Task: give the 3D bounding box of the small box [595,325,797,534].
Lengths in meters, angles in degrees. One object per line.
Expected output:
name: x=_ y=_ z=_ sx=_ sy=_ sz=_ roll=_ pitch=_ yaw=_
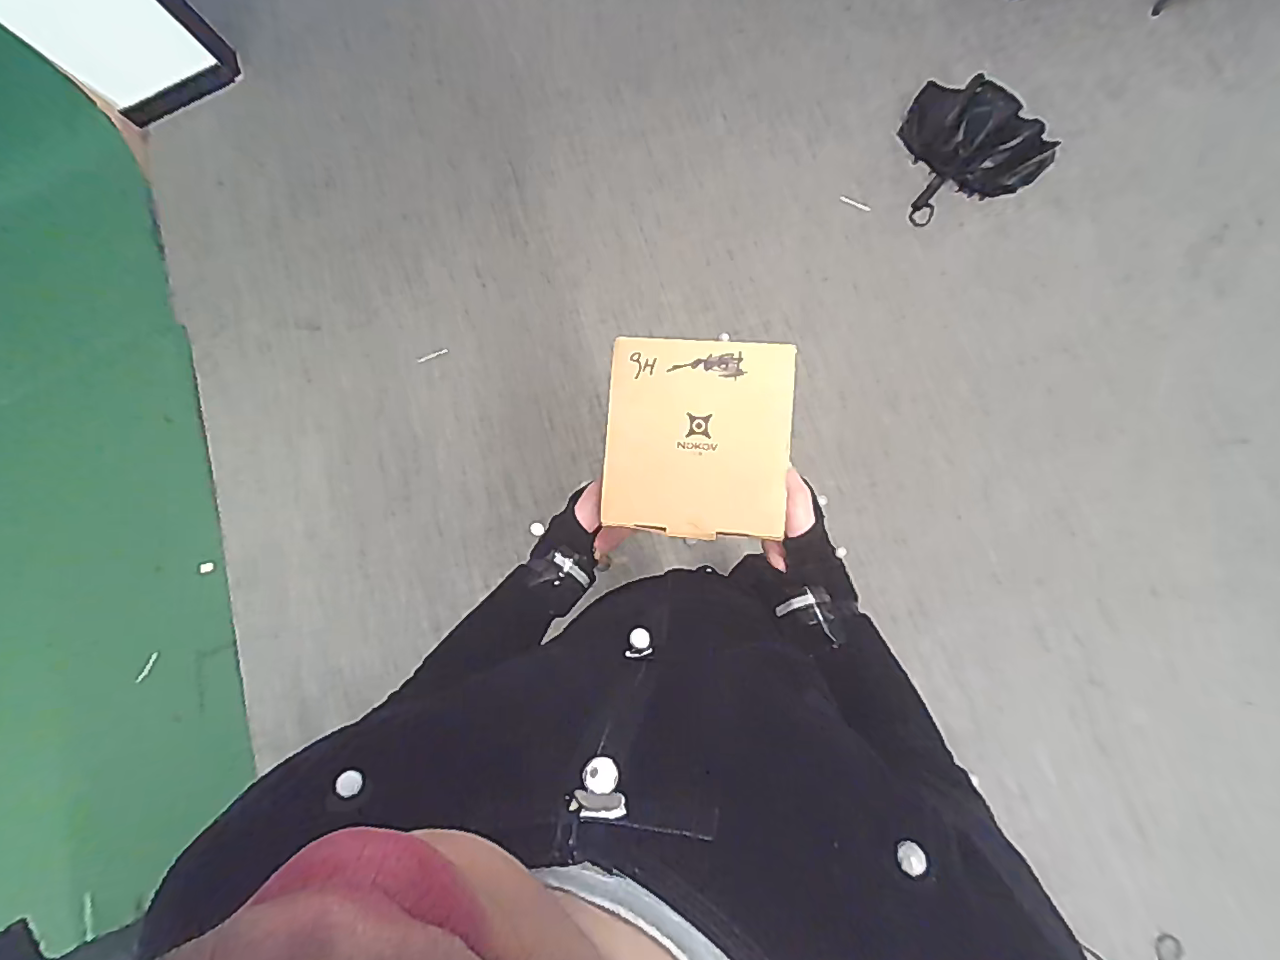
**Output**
small box: x=0.056 y=-0.044 z=0.553 sx=0.168 sy=0.176 sz=0.179 roll=5 pitch=88 yaw=5
